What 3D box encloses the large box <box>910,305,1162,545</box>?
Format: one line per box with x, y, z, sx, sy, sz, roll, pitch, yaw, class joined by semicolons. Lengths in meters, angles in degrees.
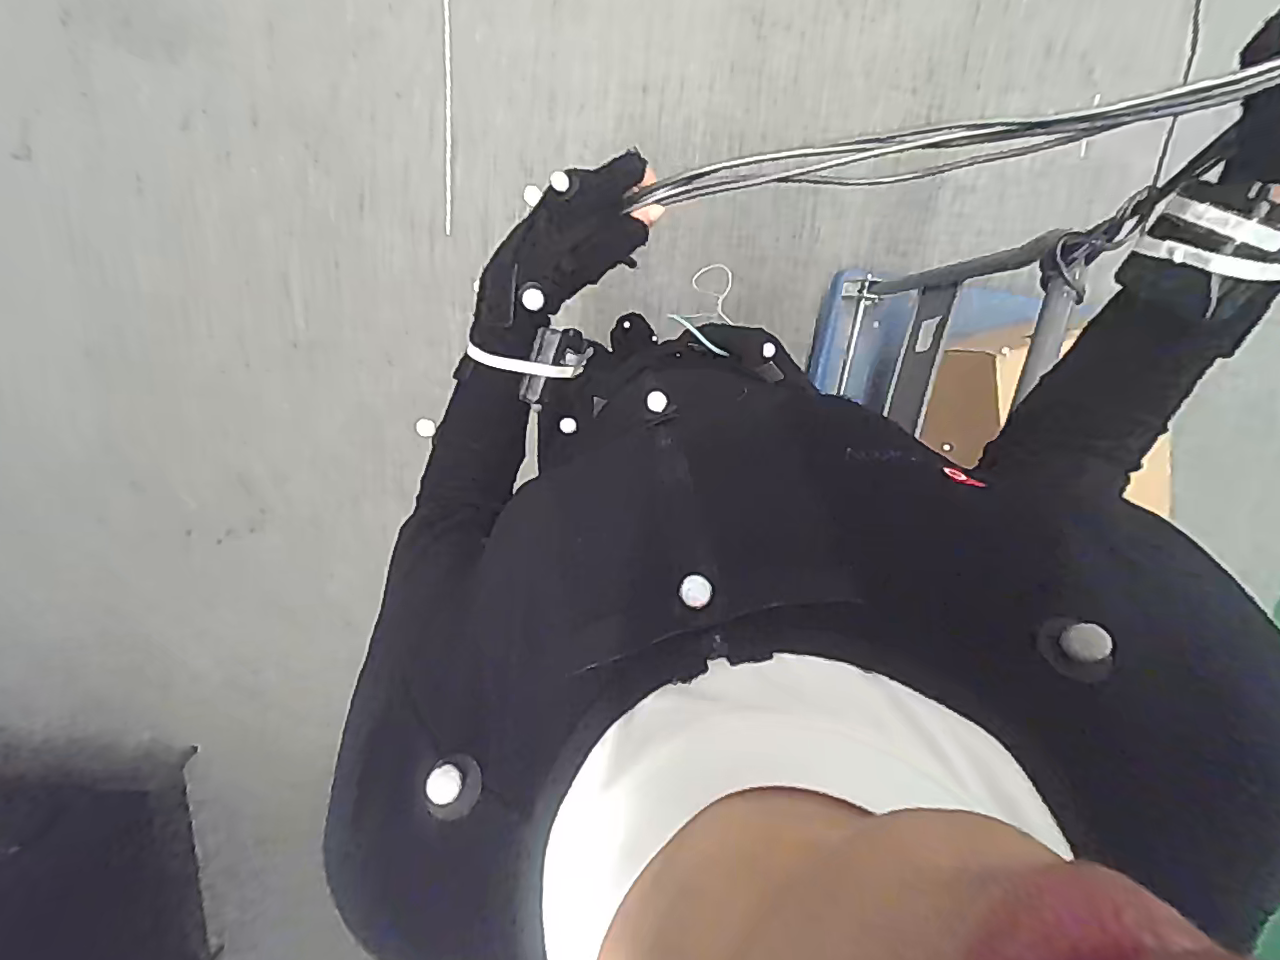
0.818;-0.127;1.155;0.320;0.320;0.408;-13;104;2;large box
